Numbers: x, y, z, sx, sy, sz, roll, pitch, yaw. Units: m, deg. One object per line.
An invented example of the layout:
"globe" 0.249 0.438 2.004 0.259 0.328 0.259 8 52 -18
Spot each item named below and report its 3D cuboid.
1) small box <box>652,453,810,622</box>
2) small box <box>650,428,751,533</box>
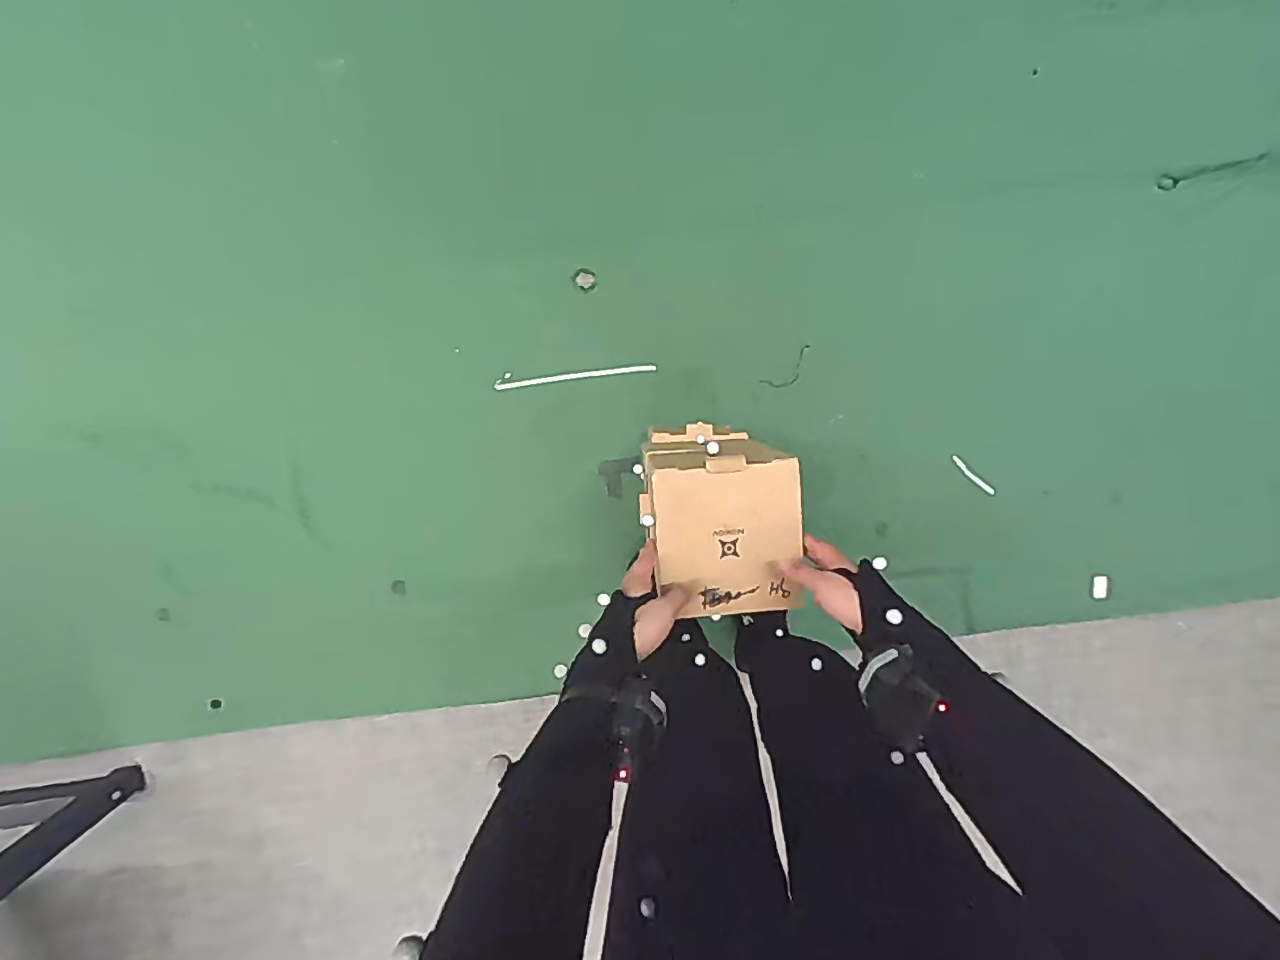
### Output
"small box" 0.106 0.060 0.686 0.168 0.176 0.179 -4 100 -2
"small box" 0.106 -0.003 1.006 0.168 0.176 0.179 0 99 -1
